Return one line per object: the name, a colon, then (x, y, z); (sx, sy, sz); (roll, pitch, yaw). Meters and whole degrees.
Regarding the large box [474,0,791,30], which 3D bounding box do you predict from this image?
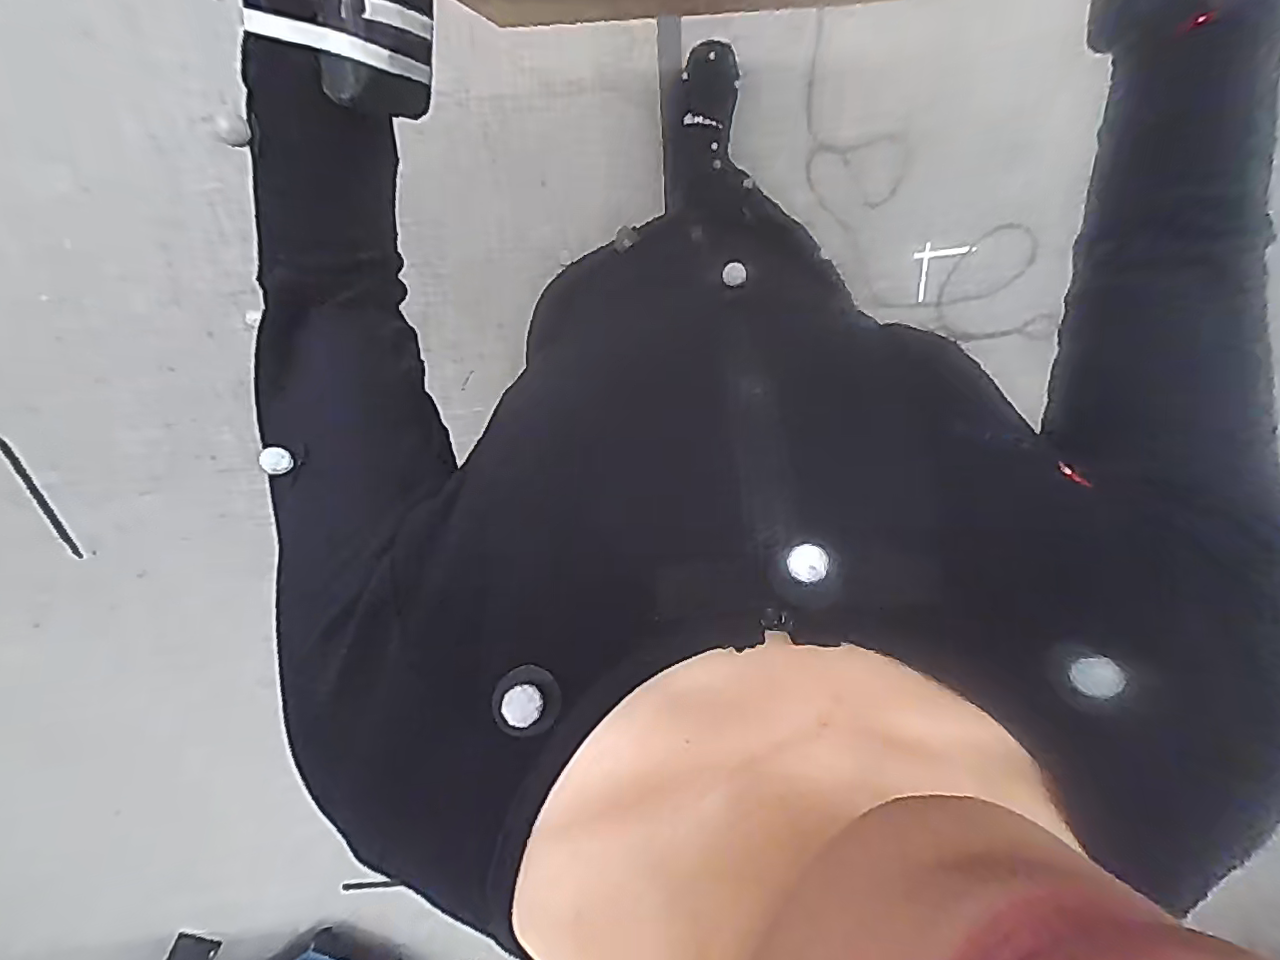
large box: (0.050, -0.513, 0.330); (0.408, 0.320, 0.320); (-4, 124, 1)
